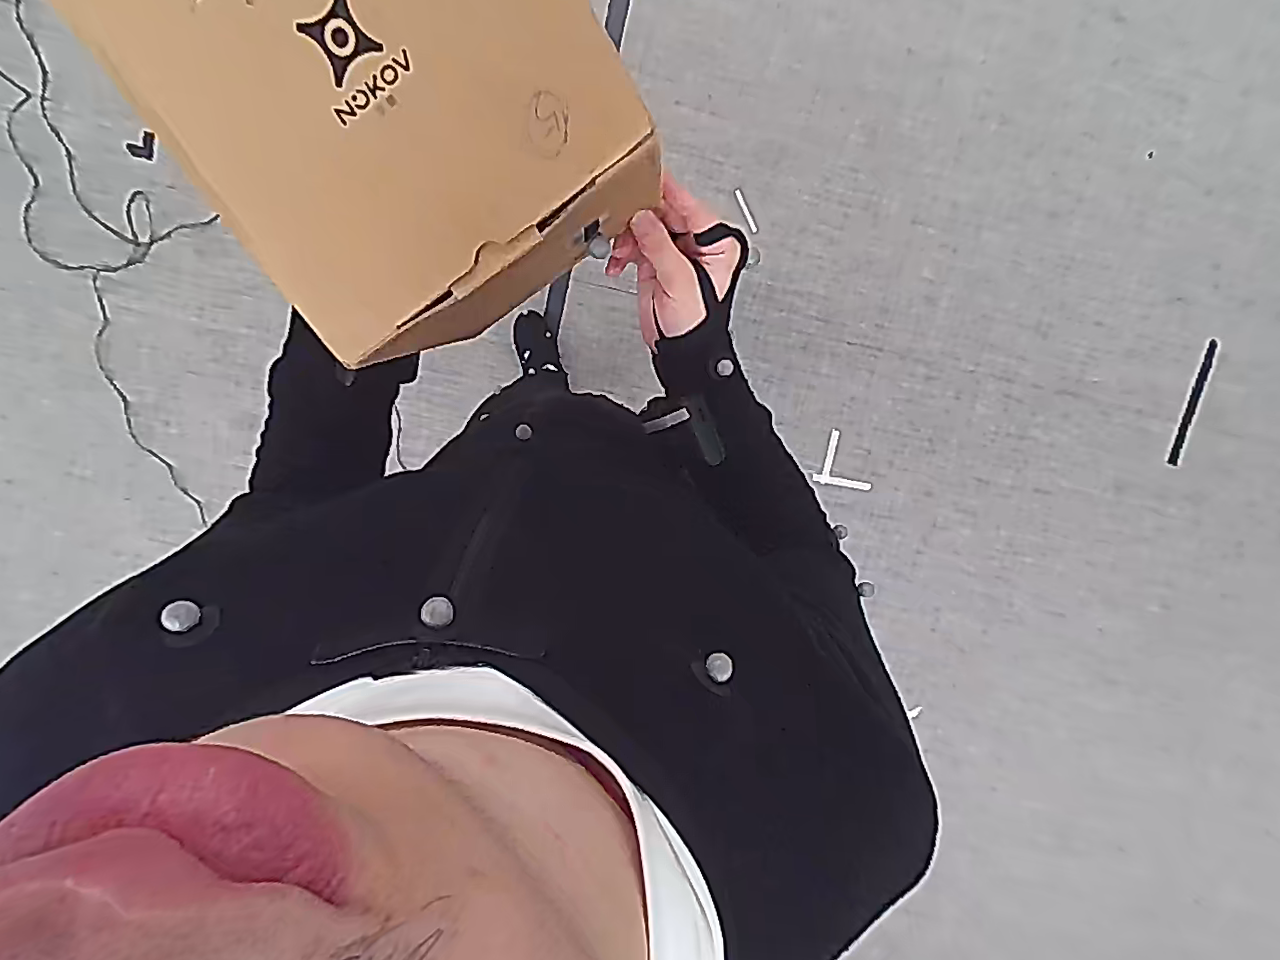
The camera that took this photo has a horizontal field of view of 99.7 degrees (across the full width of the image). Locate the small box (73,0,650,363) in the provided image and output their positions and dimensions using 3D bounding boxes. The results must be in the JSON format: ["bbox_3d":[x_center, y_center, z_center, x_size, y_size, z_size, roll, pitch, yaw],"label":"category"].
[{"bbox_3d":[-0.104,-0.188,0.287,0.168,0.176,0.179,-31,105,11],"label":"small box"}]
